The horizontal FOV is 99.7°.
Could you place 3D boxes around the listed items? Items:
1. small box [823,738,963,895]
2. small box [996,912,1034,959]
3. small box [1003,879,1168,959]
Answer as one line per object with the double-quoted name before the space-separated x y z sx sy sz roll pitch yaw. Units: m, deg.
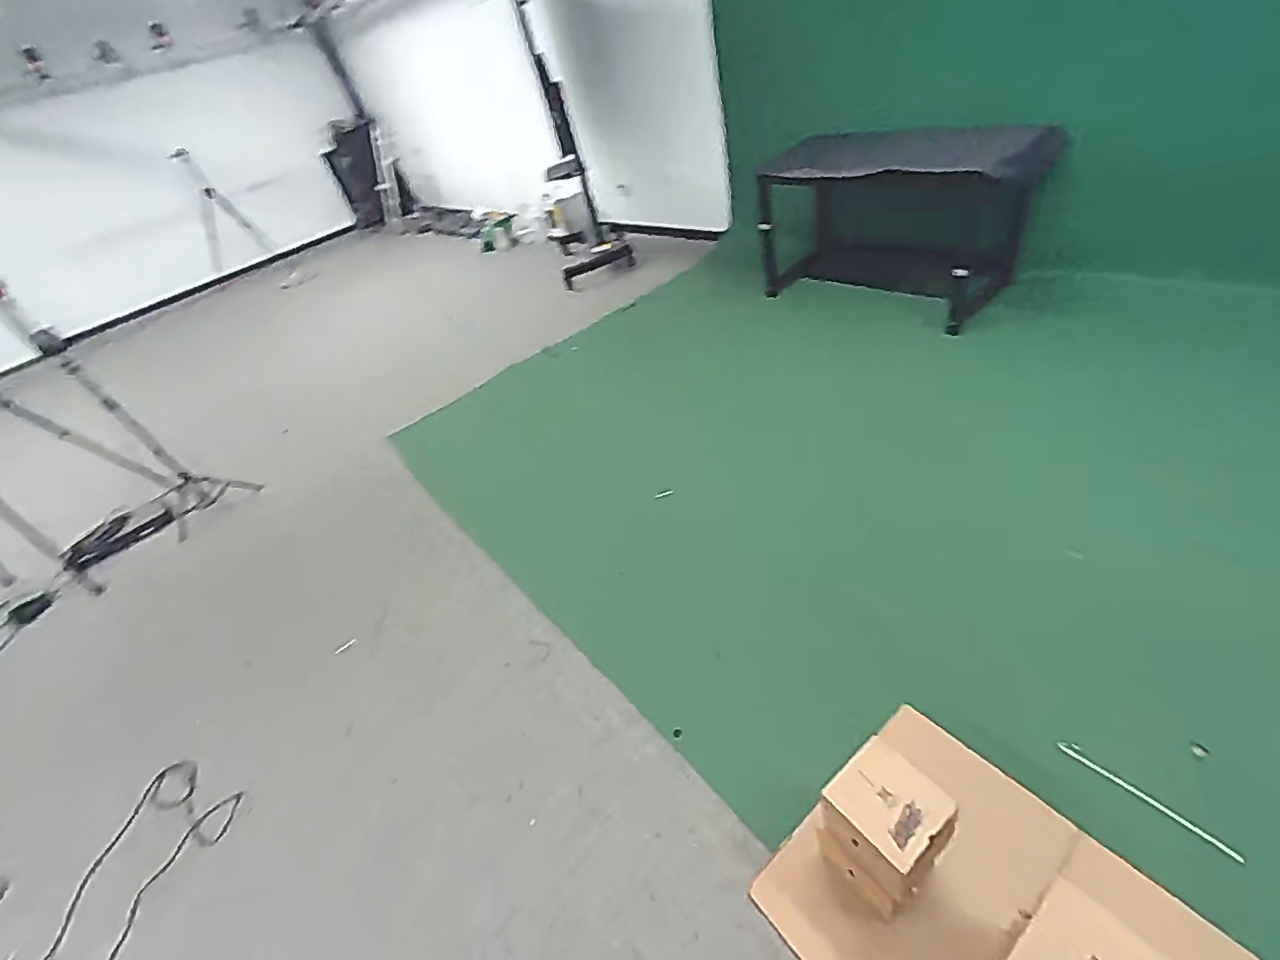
"small box" 0.478 0.646 1.033 0.168 0.176 0.179 -33 39 -19
"small box" 0.701 0.897 0.920 0.179 0.176 0.168 -37 43 -22
"small box" 0.673 0.767 0.821 0.179 0.176 0.168 -34 41 -21
